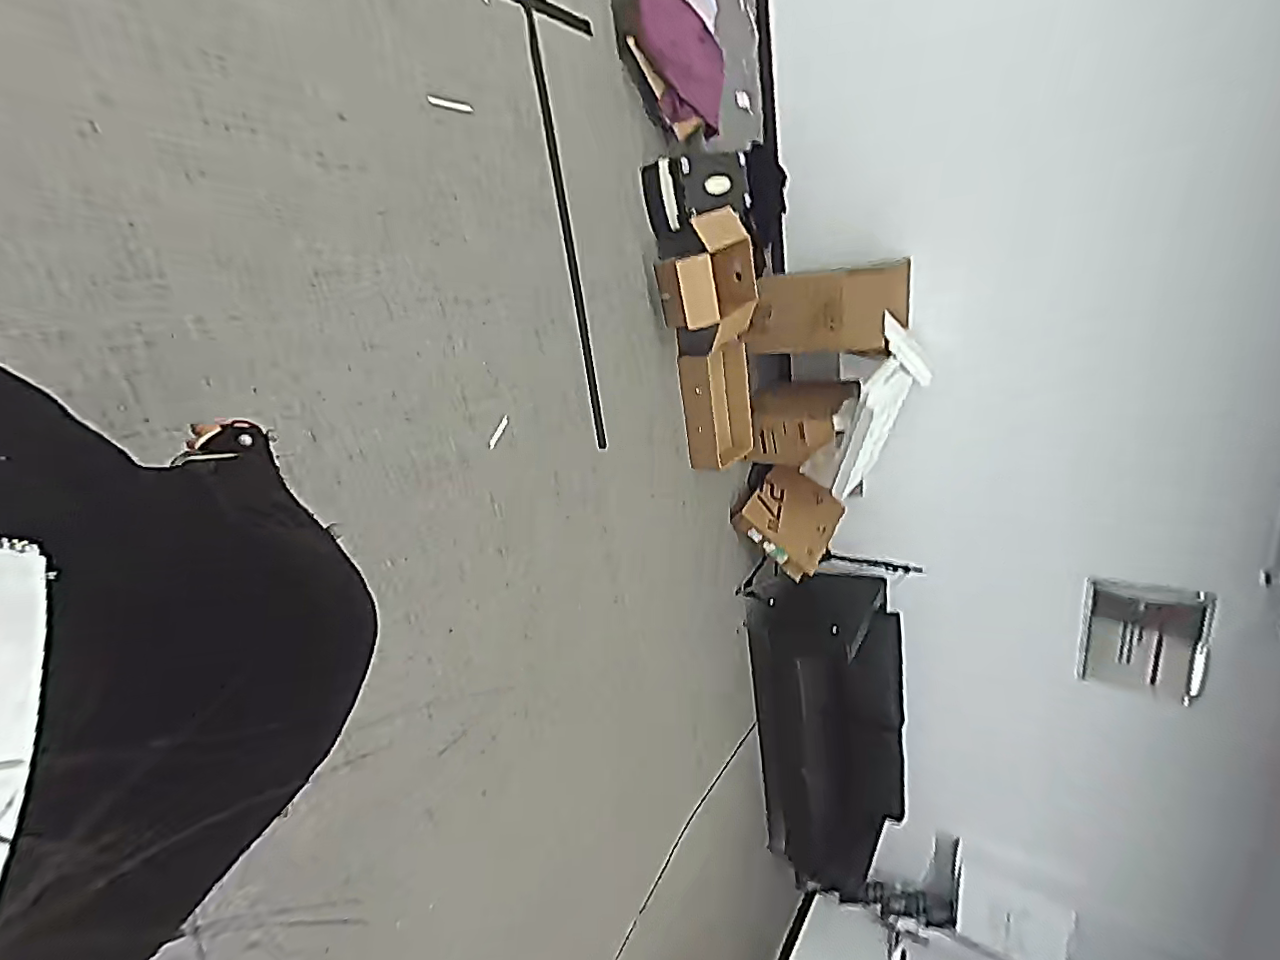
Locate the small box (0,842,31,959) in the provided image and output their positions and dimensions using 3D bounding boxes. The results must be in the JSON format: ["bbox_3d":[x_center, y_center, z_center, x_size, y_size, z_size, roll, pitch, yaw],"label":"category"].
[{"bbox_3d":[-0.820,0.467,0.582,0.168,0.176,0.179,-32,116,-48],"label":"small box"}]
